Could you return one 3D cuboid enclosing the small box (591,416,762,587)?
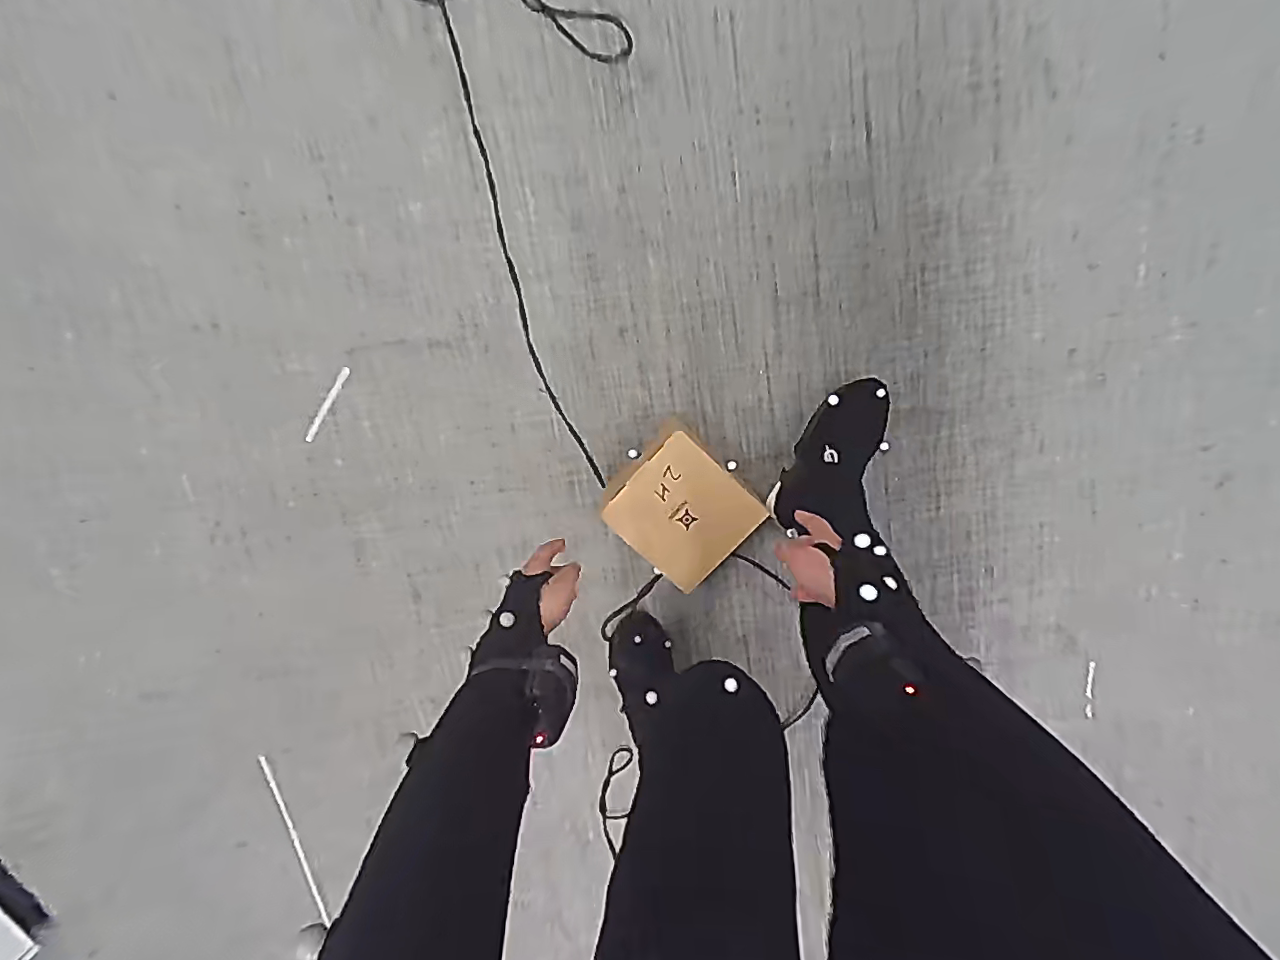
[{"bbox_3d":[0.051,0.021,0.810,0.179,0.176,0.168,42,100,-8],"label":"small box"}]
